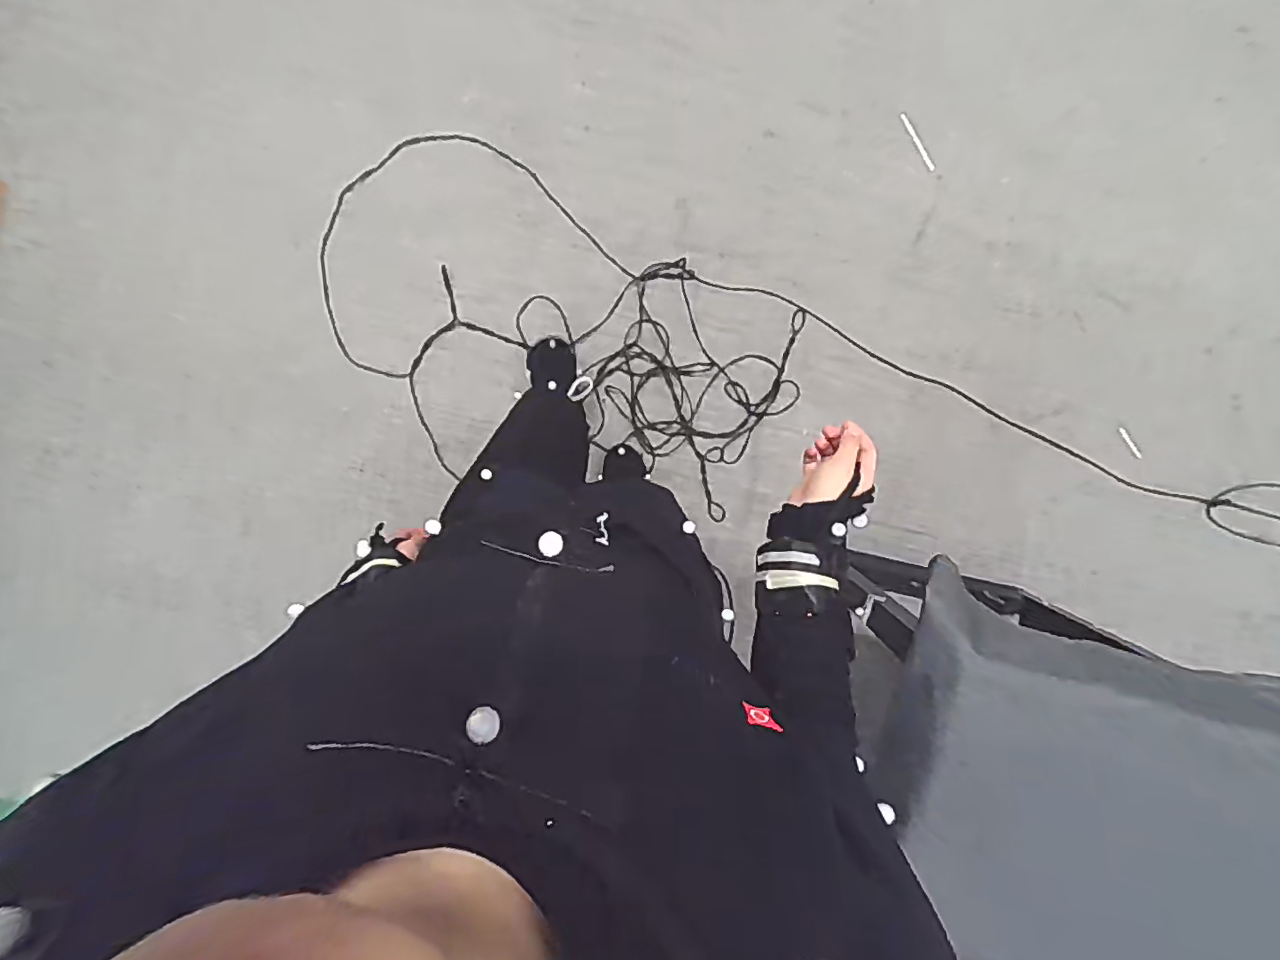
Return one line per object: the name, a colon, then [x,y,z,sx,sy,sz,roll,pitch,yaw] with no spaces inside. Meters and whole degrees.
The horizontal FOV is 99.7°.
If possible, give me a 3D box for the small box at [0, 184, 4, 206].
small box: [-1.627,-0.655,1.223,0.179,0.176,0.168,23,96,-1]
